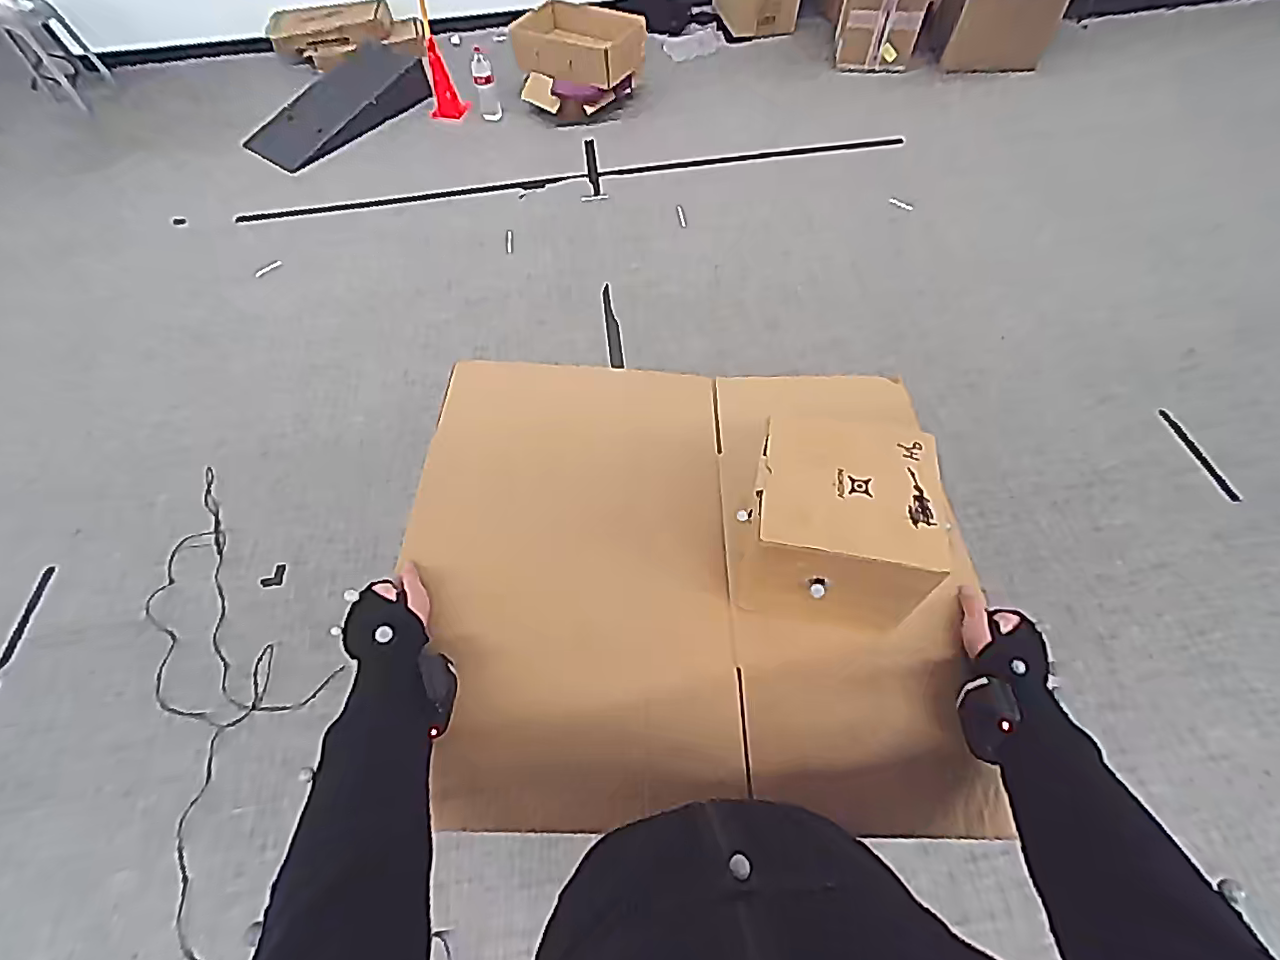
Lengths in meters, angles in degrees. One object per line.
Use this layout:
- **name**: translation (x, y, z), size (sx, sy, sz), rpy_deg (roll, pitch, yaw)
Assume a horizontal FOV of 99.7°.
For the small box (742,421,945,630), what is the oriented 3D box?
- **small box**: translation (0.215, 0.056, 0.616), size (0.179, 0.176, 0.168), rpy_deg (8, 56, 9)
